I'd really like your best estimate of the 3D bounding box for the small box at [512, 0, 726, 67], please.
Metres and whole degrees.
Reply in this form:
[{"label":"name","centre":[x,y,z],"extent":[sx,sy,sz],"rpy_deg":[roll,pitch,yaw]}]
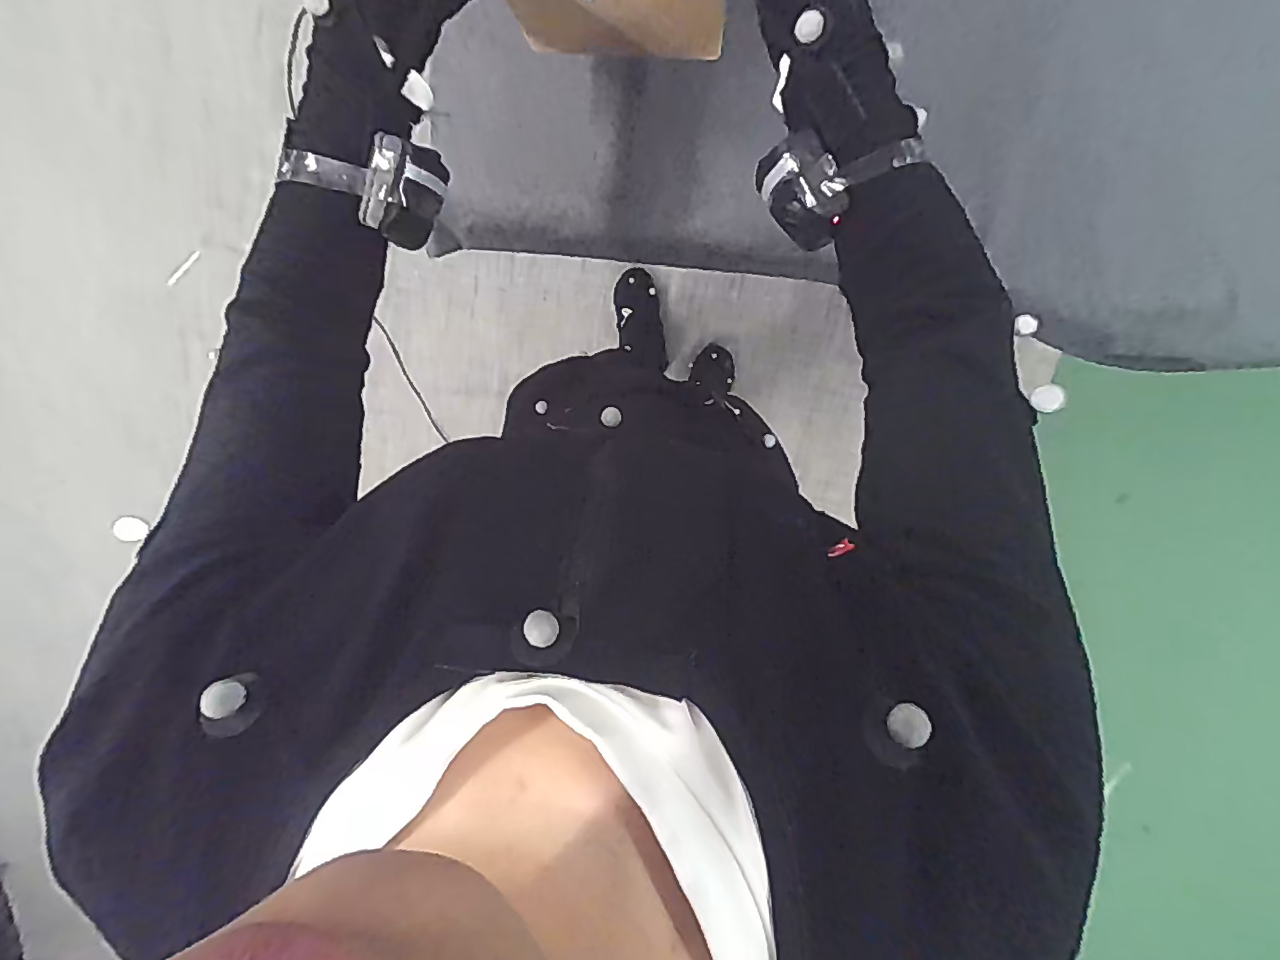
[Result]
[{"label":"small box","centre":[-0.015,-0.448,0.413],"extent":[0.179,0.176,0.168],"rpy_deg":[5,107,4]}]
